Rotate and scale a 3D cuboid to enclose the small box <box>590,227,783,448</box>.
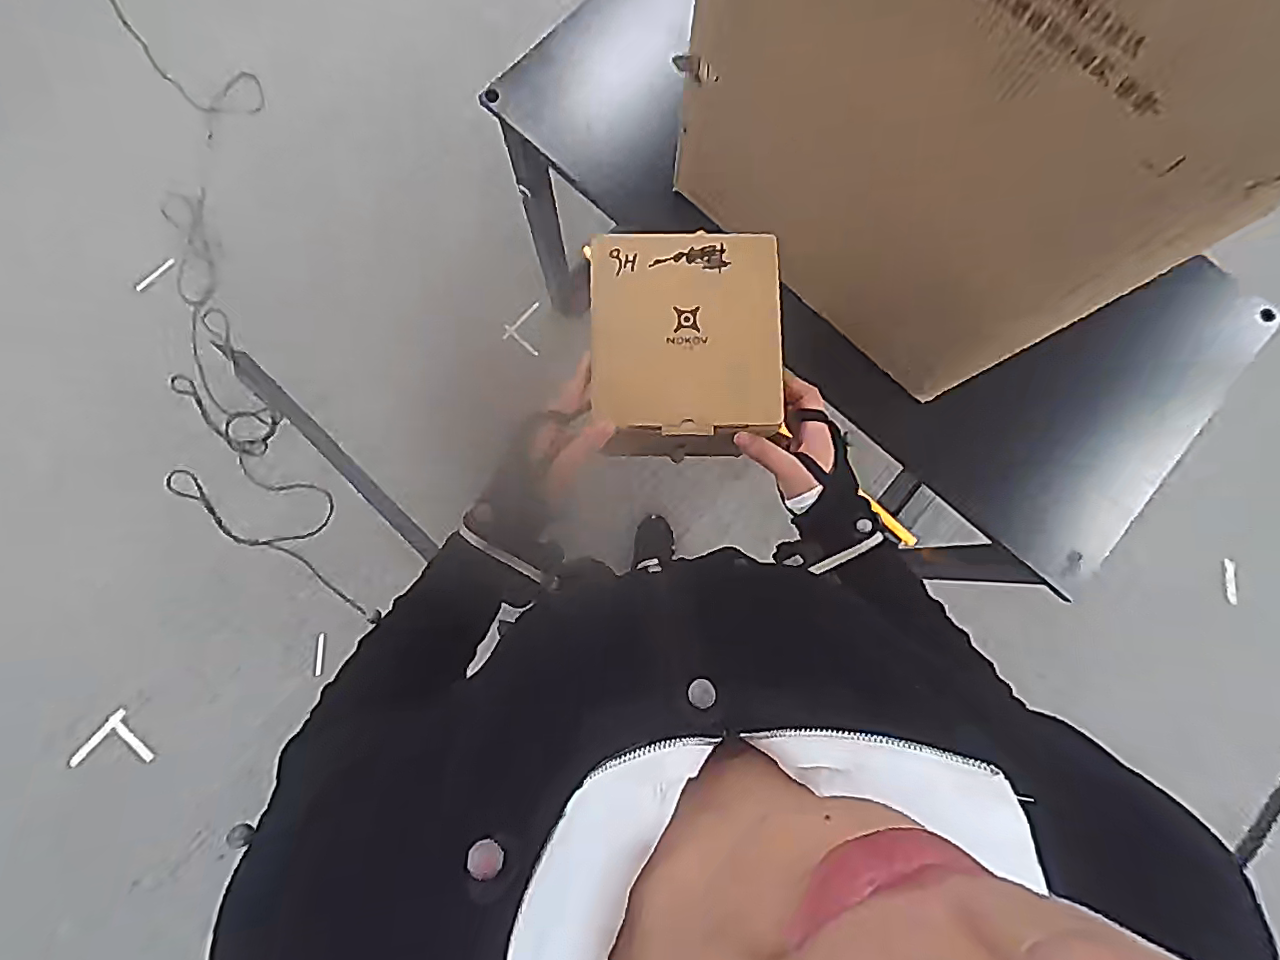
[{"bbox_3d":[0.040,-0.125,0.540,0.168,0.176,0.179,-1,86,-1],"label":"small box"}]
